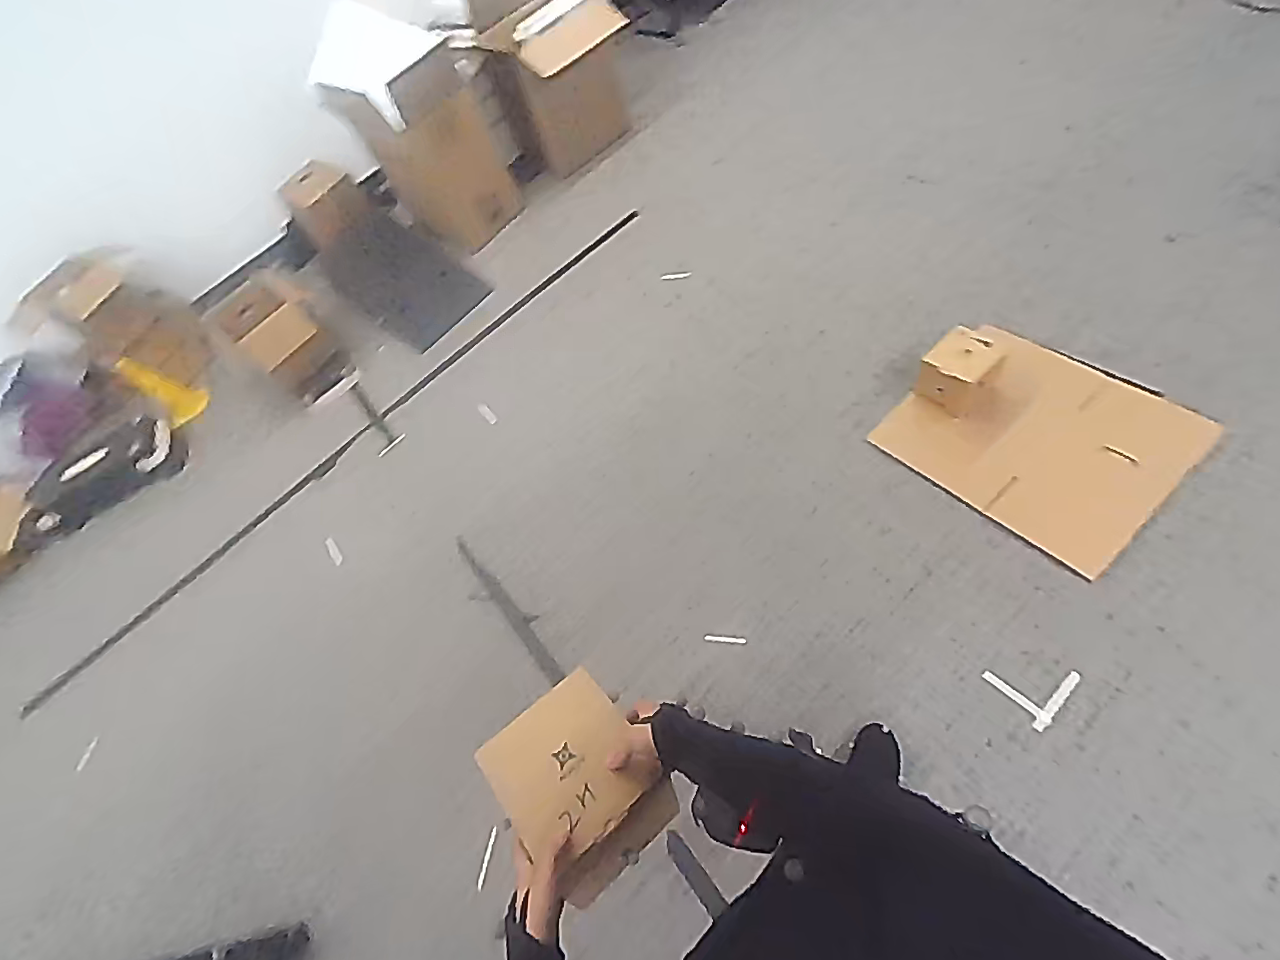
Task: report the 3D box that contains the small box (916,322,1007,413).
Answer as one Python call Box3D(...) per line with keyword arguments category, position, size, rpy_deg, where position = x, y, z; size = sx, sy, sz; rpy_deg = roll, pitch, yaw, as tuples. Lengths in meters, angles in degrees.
Box3D(category="small box", position=(0.979, -0.341, 1.663), size=(0.179, 0.176, 0.168), rpy_deg=(-41, 57, -7))

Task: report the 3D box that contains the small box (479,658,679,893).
Box3D(category="small box", position=(-0.069, 0.369, 0.677), size=(0.168, 0.176, 0.179), rpy_deg=(-34, 50, -21))
